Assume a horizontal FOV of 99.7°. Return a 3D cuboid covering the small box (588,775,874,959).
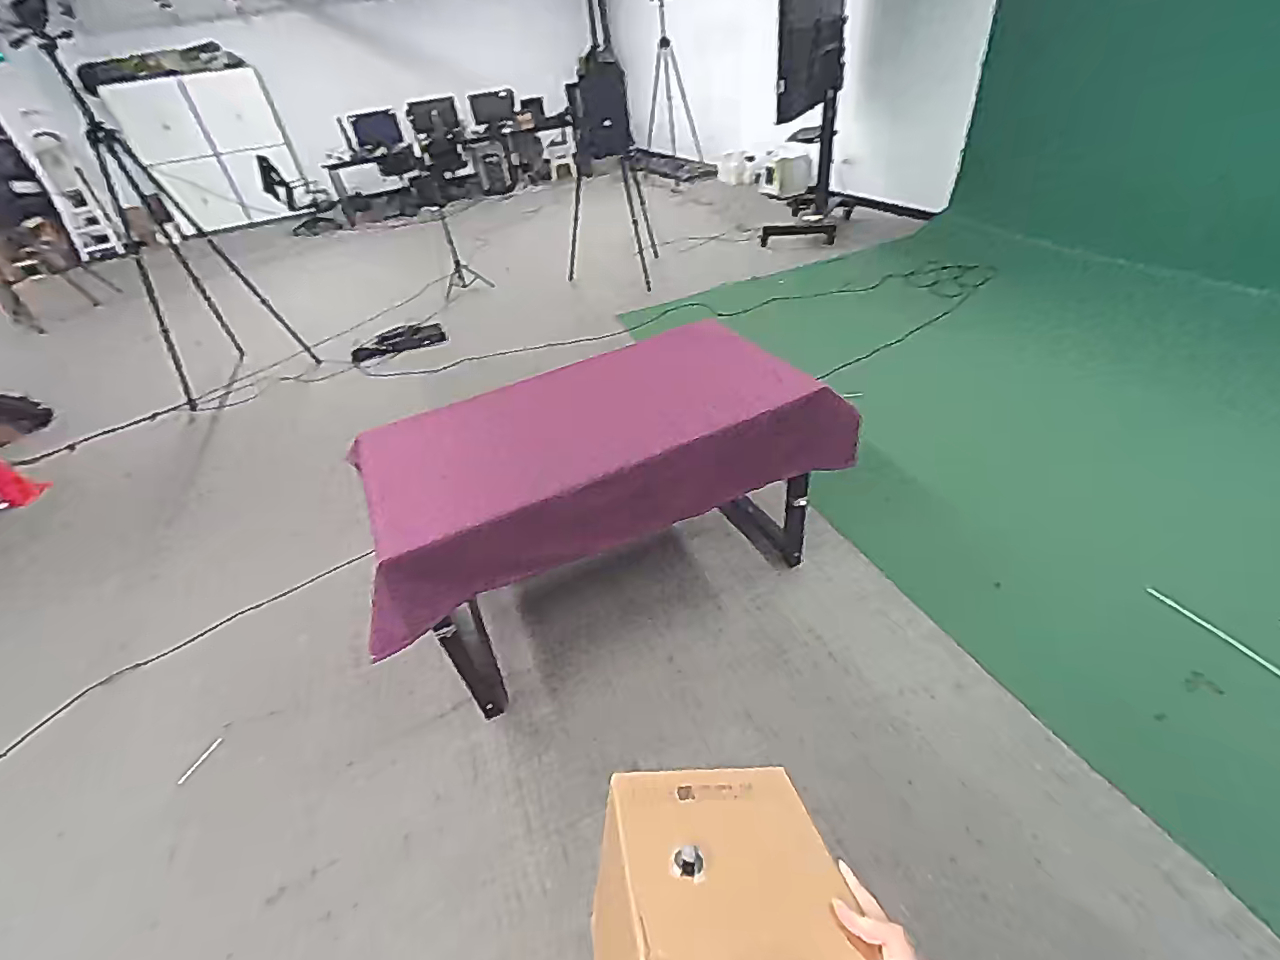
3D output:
[{"bbox_3d":[0.052,0.366,0.437,0.168,0.179,0.176,5,15,-11],"label":"small box"}]
